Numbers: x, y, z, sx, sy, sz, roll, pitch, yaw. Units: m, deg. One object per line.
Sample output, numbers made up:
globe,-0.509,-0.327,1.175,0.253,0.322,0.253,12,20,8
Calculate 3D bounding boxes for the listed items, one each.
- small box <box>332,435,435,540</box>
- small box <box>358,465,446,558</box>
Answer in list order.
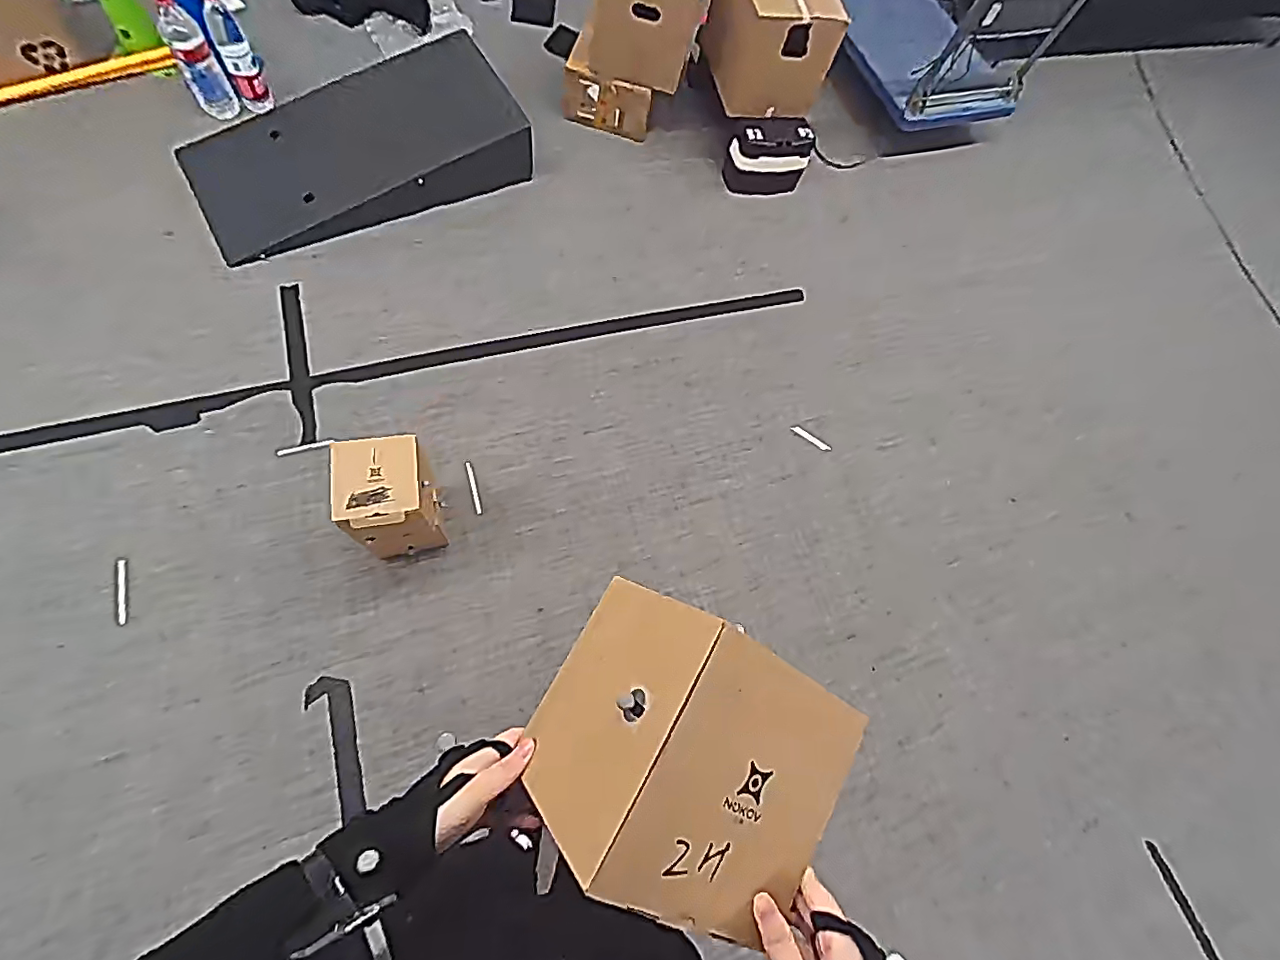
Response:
small box,-0.542,0.023,1.158,0.168,0.176,0.179,-7,70,-13
small box,-0.575,0.078,1.311,0.179,0.176,0.168,-11,71,-15
